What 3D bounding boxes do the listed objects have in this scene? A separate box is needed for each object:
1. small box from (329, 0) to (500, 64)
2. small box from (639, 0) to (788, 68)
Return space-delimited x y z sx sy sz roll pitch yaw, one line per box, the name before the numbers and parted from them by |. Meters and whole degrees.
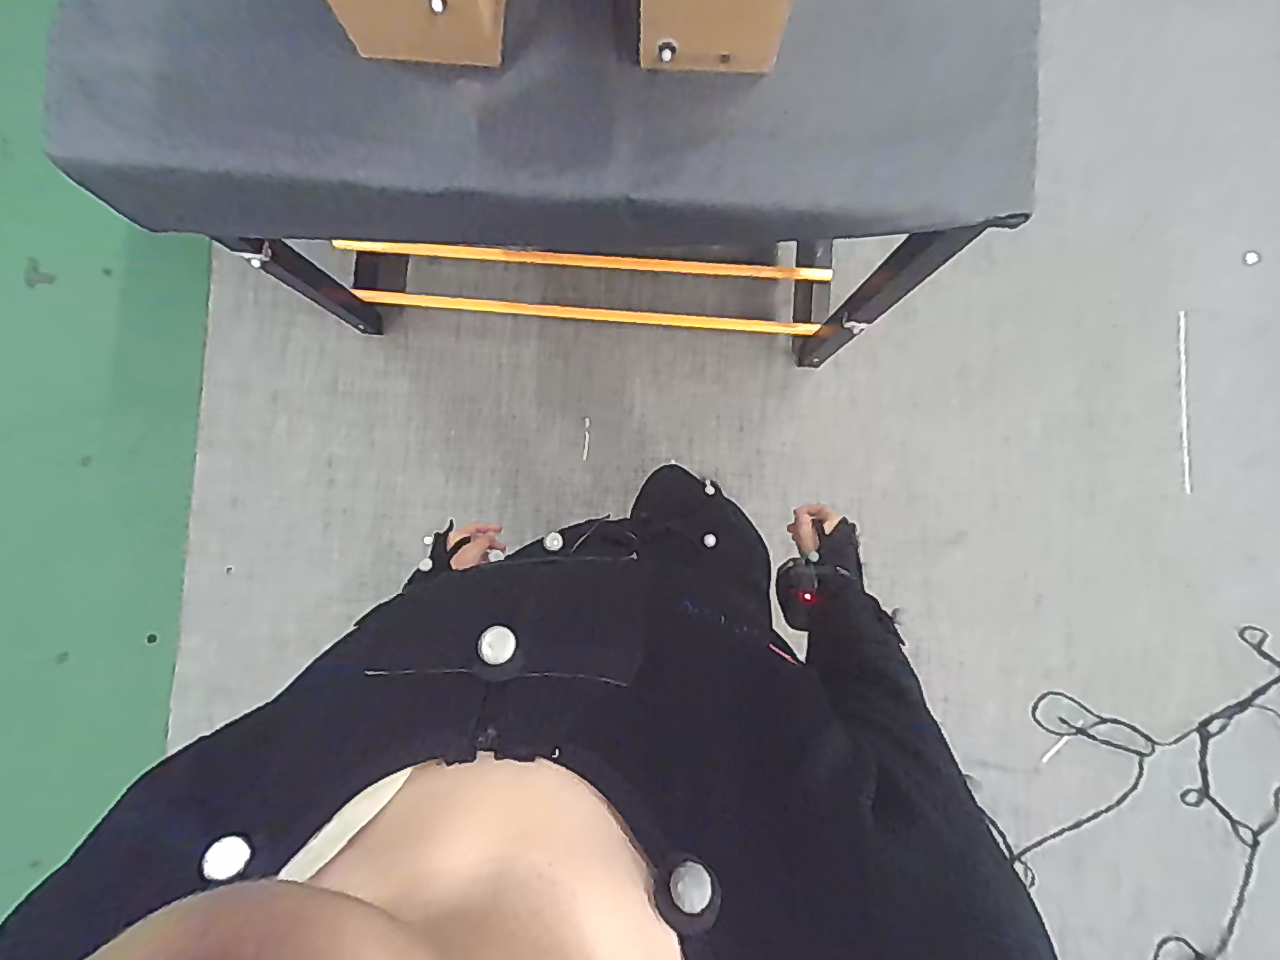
small box | -0.253 -0.602 0.595 0.179 0.176 0.168 3 85 1
small box | 0.084 -0.599 0.595 0.168 0.176 0.179 2 86 0
